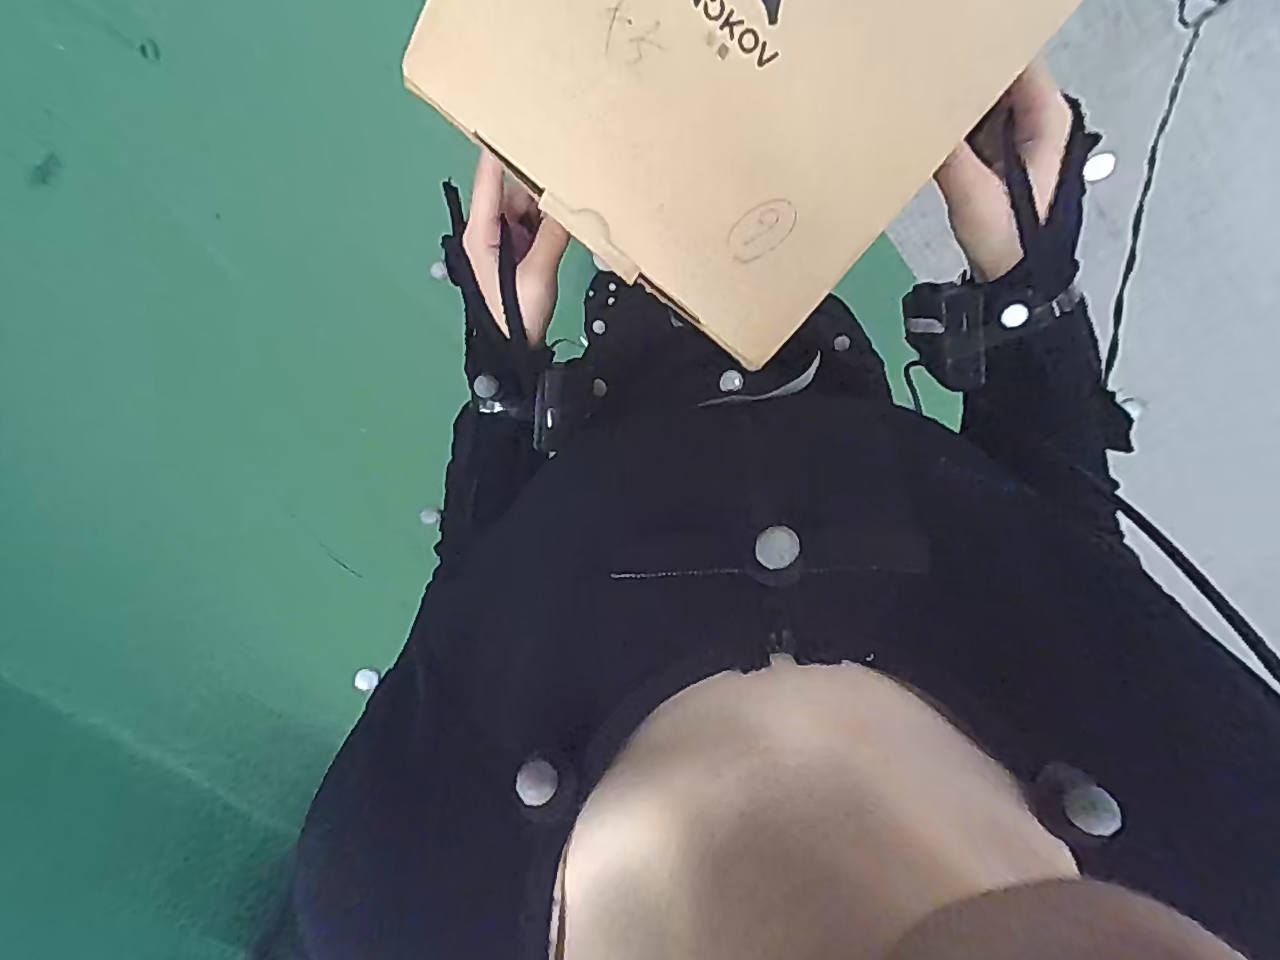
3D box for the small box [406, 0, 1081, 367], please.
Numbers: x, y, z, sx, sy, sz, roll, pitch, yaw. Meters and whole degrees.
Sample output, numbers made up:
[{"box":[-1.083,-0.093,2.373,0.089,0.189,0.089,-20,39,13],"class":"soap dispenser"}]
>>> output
[{"box":[0.041,-0.182,0.244,0.168,0.176,0.179,38,113,-10],"class":"small box"}]
